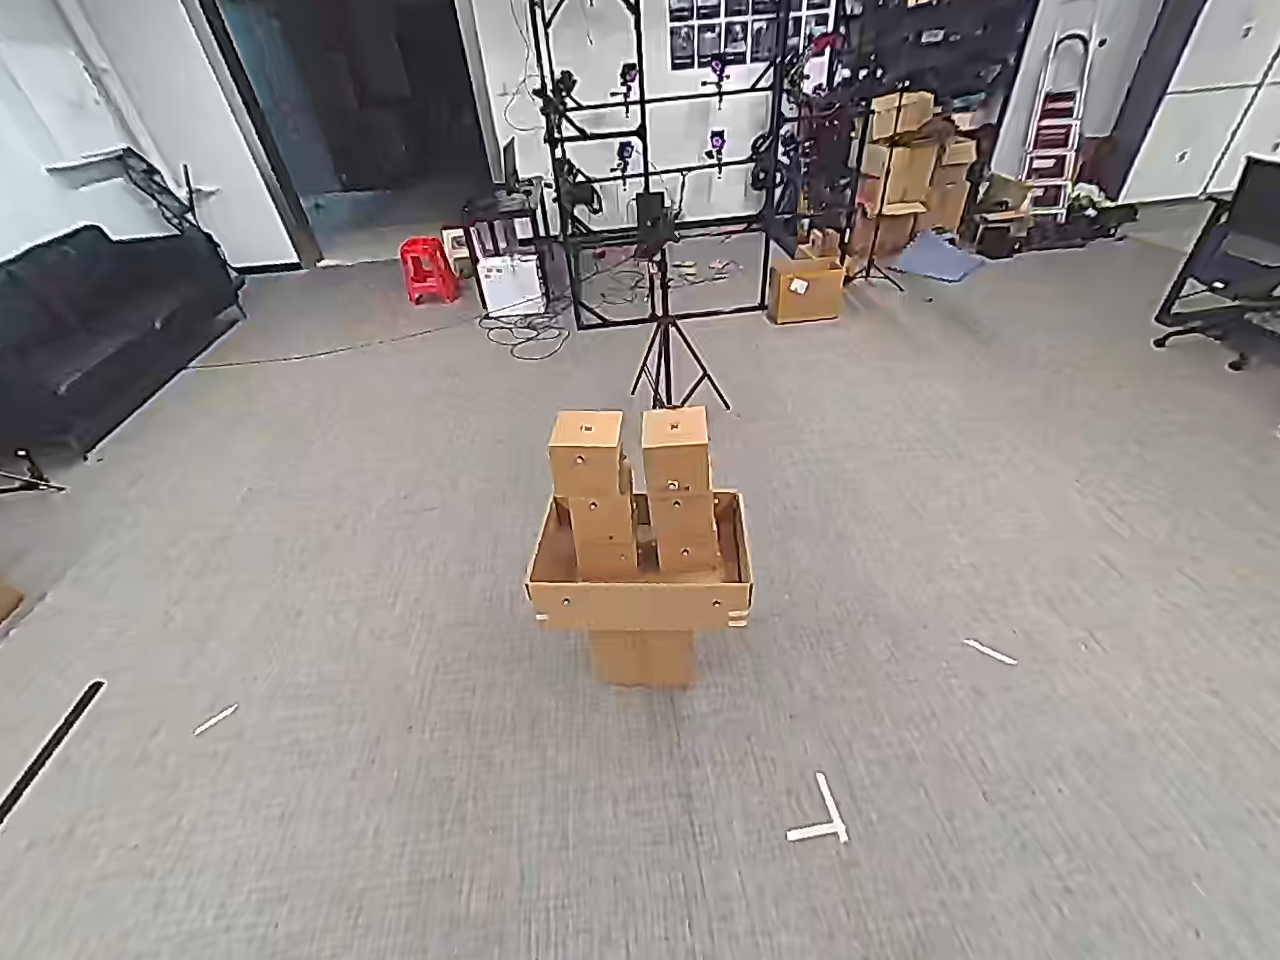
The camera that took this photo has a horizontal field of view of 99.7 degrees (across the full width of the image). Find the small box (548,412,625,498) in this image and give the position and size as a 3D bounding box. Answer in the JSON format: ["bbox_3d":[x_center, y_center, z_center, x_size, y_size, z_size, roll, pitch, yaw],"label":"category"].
[{"bbox_3d":[-0.133,-0.065,1.436,0.179,0.176,0.168,0,38,4],"label":"small box"}]

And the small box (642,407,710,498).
[{"bbox_3d":[0.096,-0.072,1.417,0.168,0.176,0.179,-4,38,5],"label":"small box"}]
